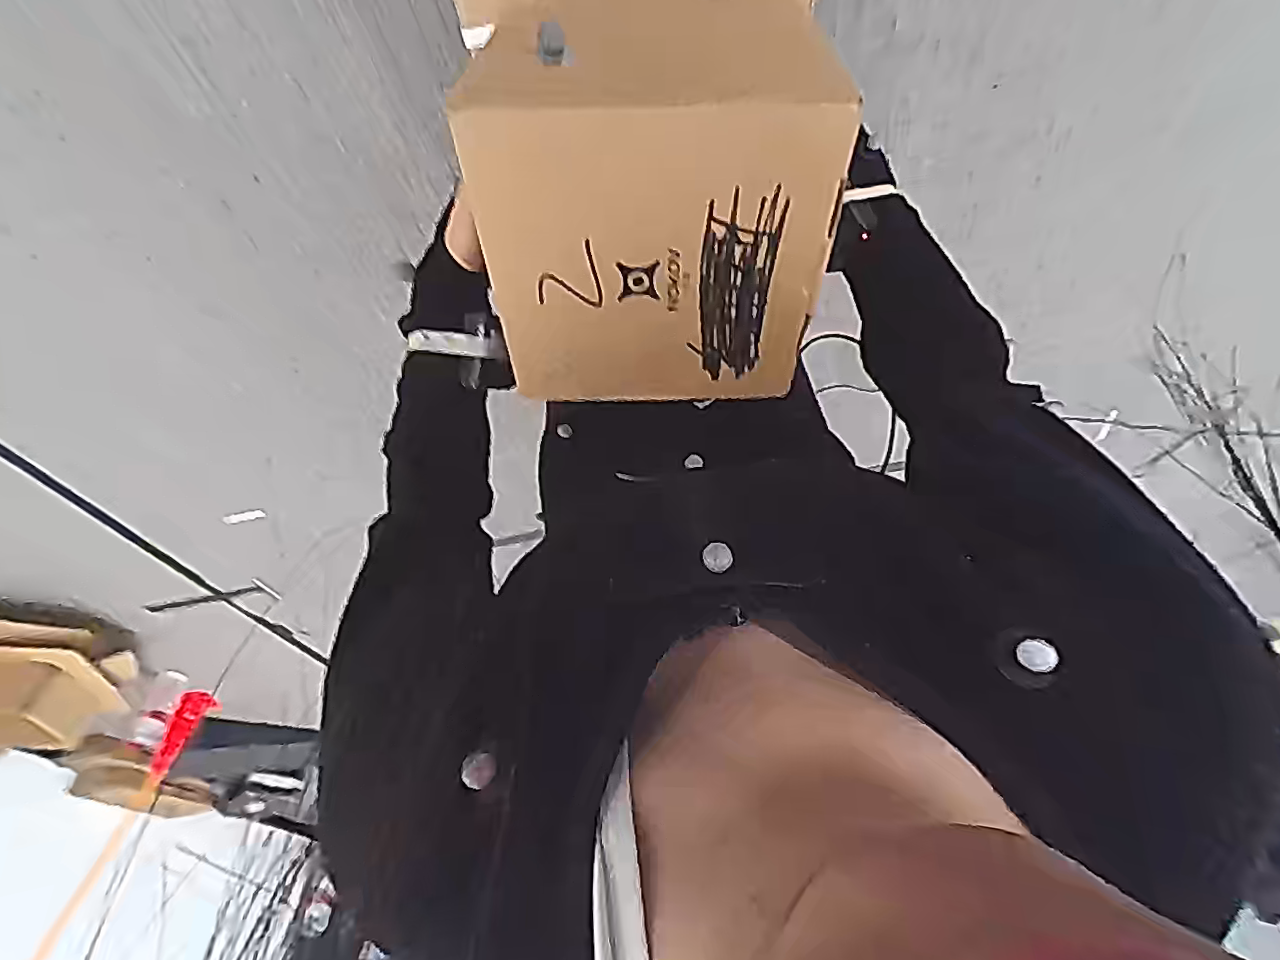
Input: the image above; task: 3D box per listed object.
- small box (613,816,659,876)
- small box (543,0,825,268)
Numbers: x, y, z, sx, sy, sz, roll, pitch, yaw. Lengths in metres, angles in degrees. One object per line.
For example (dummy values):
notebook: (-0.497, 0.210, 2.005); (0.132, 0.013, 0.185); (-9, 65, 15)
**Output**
small box: (-0.016, 1.518, 2.242); (0.168, 0.176, 0.179); (-9, 132, 3)
small box: (0.027, -0.297, 0.437); (0.179, 0.176, 0.168); (-4, 142, 2)
